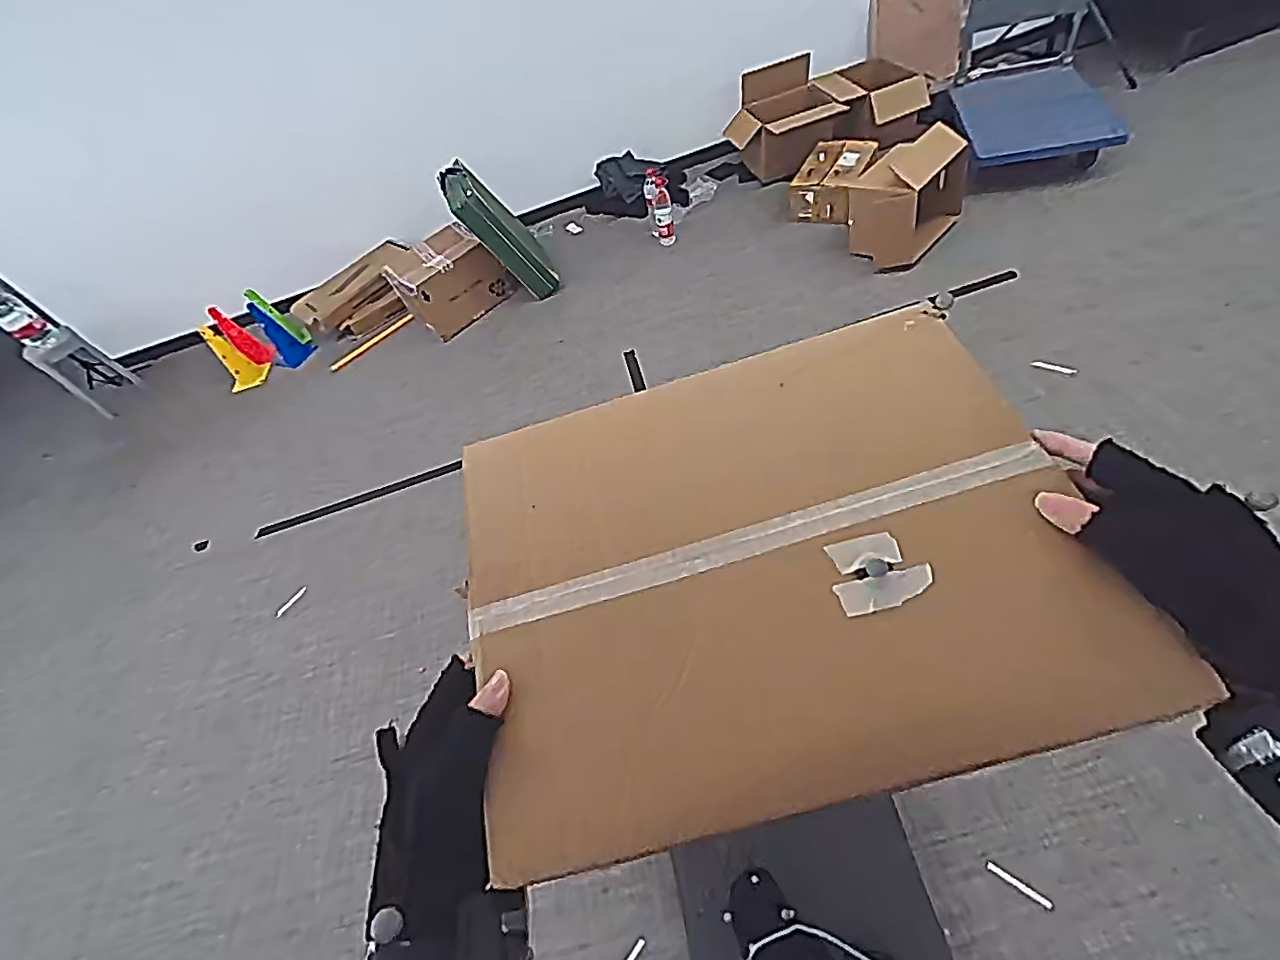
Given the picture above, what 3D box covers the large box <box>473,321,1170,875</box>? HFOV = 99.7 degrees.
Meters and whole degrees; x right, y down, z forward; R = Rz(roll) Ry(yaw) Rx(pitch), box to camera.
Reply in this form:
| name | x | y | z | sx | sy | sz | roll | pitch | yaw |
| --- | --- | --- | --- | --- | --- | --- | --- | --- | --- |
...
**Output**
| name | x | y | z | sx | sy | sz | roll | pitch | yaw |
| --- | --- | --- | --- | --- | --- | --- | --- | --- | --- |
| large box | 0.104 | 0.122 | 0.514 | 0.408 | 0.320 | 0.320 | -17 | 59 | 3 |
